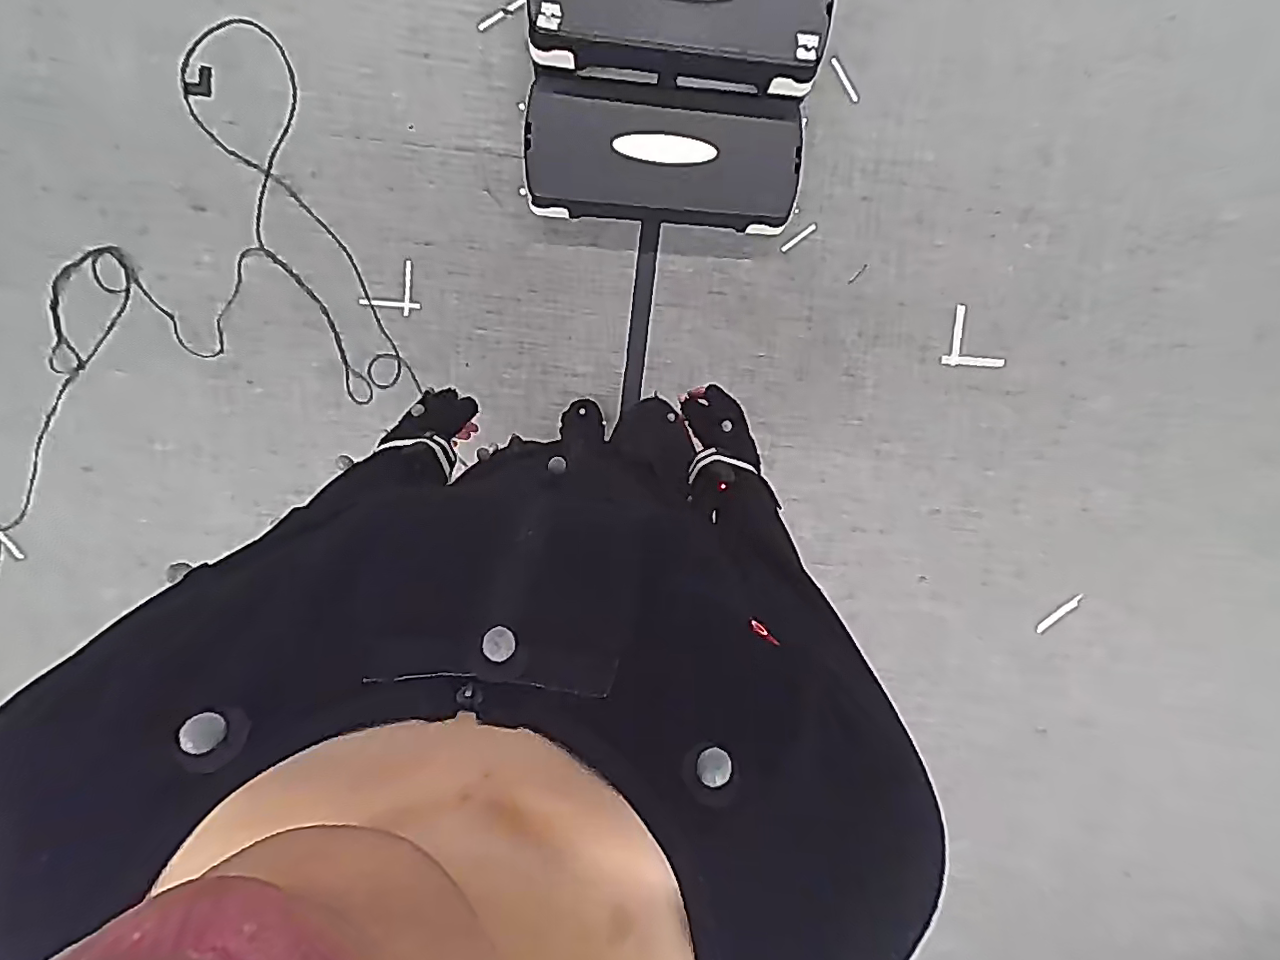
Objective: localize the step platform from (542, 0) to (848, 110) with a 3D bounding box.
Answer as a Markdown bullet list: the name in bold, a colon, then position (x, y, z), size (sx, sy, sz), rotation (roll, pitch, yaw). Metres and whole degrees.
- **step platform**: position (0.120, -1.081, 1.243), size (0.684, 0.204, 0.286), rotation (4, 98, -4)
